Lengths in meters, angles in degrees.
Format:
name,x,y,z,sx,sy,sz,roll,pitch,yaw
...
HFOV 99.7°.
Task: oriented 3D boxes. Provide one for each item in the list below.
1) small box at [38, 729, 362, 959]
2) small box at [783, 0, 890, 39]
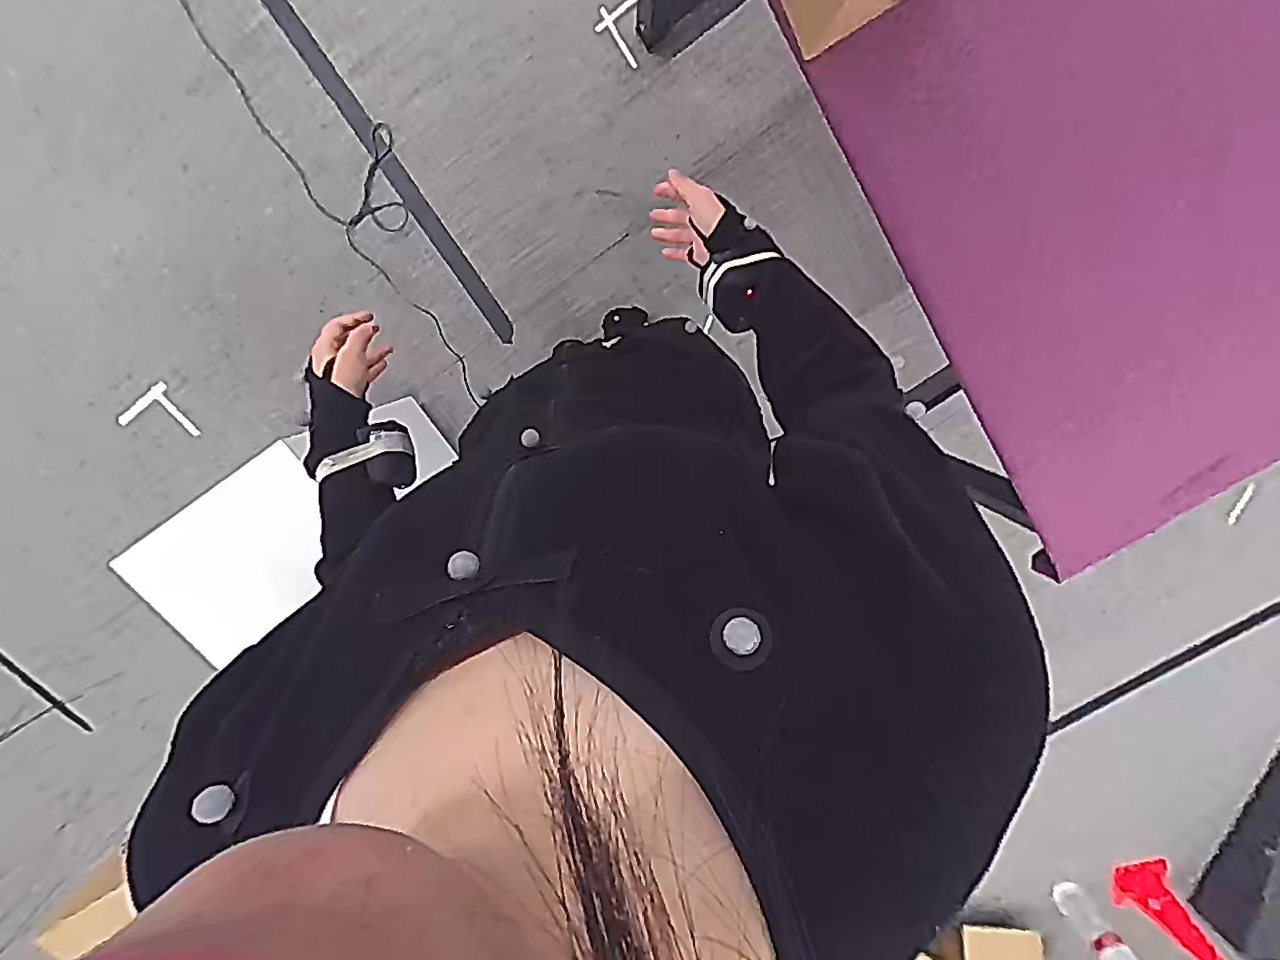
name,x,y,z,sx,sy,sz,roll,pitch,yaw
small box,-0.450,0.418,0.588,0.179,0.176,0.168,-34,105,8
small box,0.221,-0.570,0.510,0.168,0.176,0.179,-29,105,7
